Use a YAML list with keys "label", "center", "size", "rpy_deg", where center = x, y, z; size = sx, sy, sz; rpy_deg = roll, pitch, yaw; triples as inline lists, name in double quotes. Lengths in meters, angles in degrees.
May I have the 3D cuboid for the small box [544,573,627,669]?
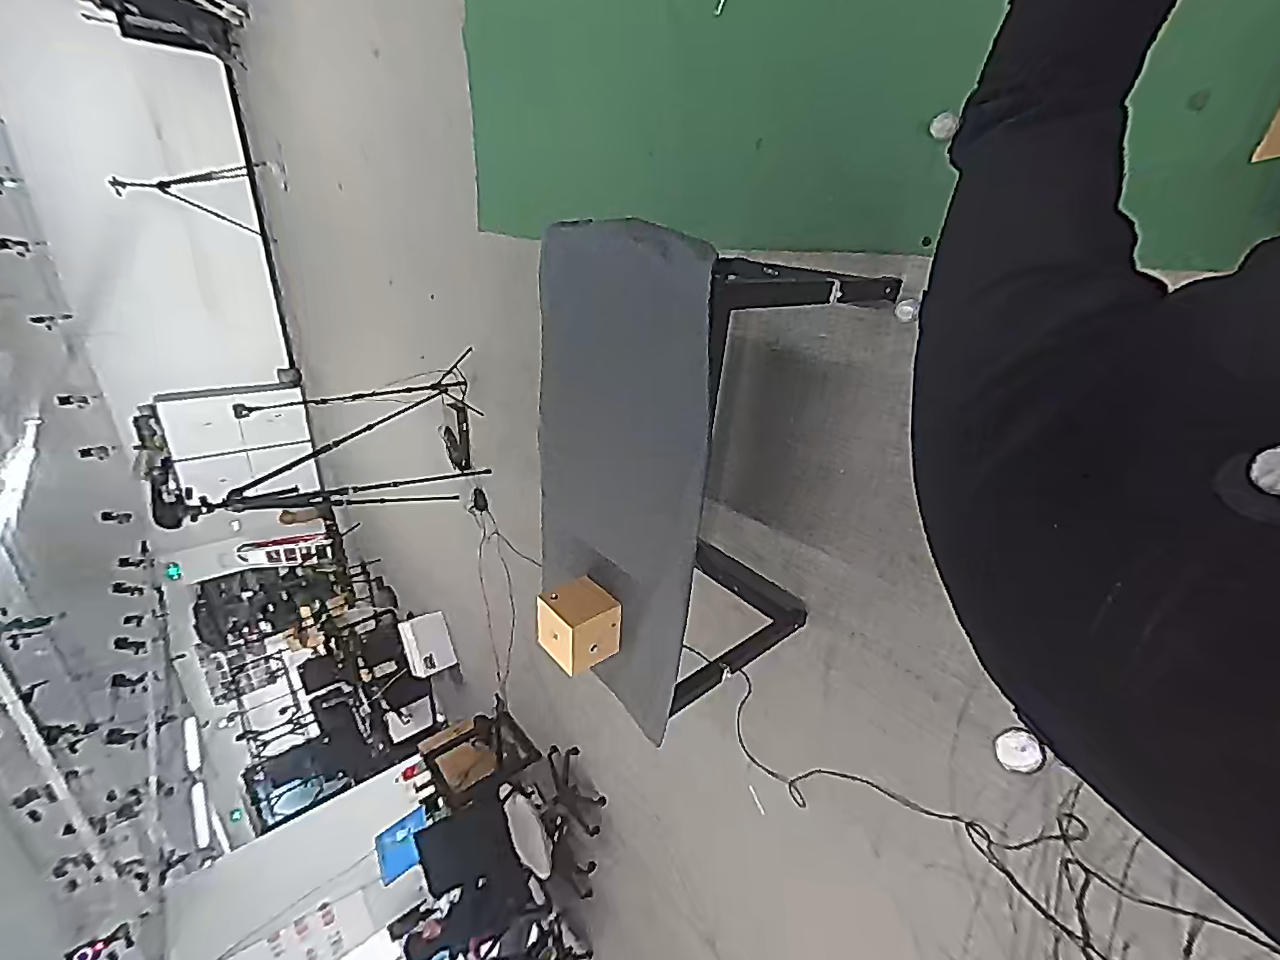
- label: "small box"
  center: [-0.152, 0.385, 1.517]
  size: [0.179, 0.176, 0.168]
  rpy_deg: [28, 125, 44]
